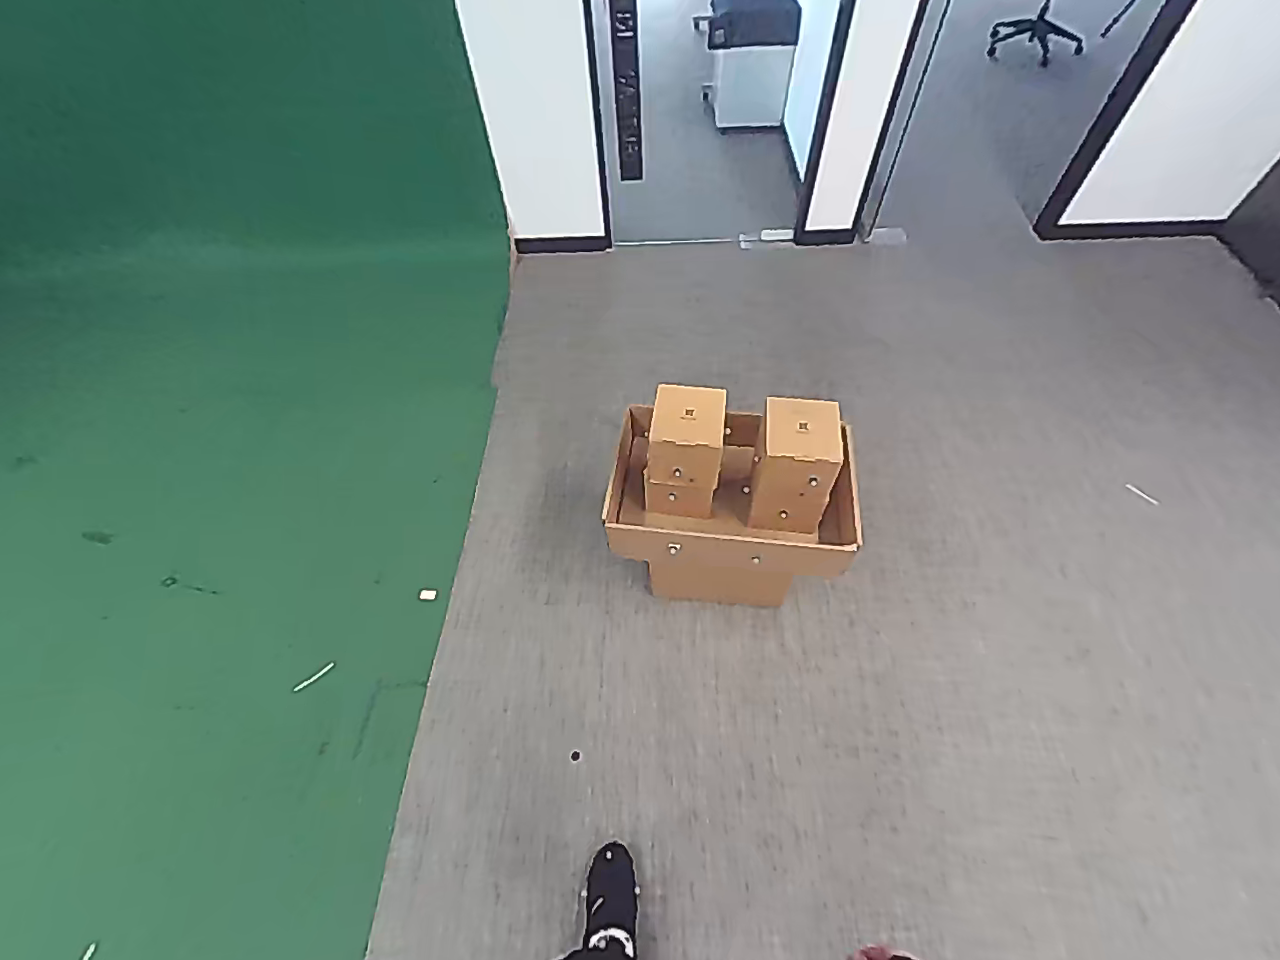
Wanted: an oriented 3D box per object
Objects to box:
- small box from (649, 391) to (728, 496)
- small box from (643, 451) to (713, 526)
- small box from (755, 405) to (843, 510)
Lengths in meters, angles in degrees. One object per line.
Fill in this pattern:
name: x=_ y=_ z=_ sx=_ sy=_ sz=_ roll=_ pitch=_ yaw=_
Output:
small box: x=0.113 y=-0.085 z=1.297 sx=0.168 sy=0.176 sz=0.179 roll=7 pitch=55 yaw=5
small box: x=0.108 y=0.006 z=1.432 sx=0.179 sy=0.176 sz=0.168 roll=7 pitch=54 yaw=7
small box: x=0.364 y=-0.048 z=1.259 sx=0.168 sy=0.176 sz=0.179 roll=7 pitch=54 yaw=6
